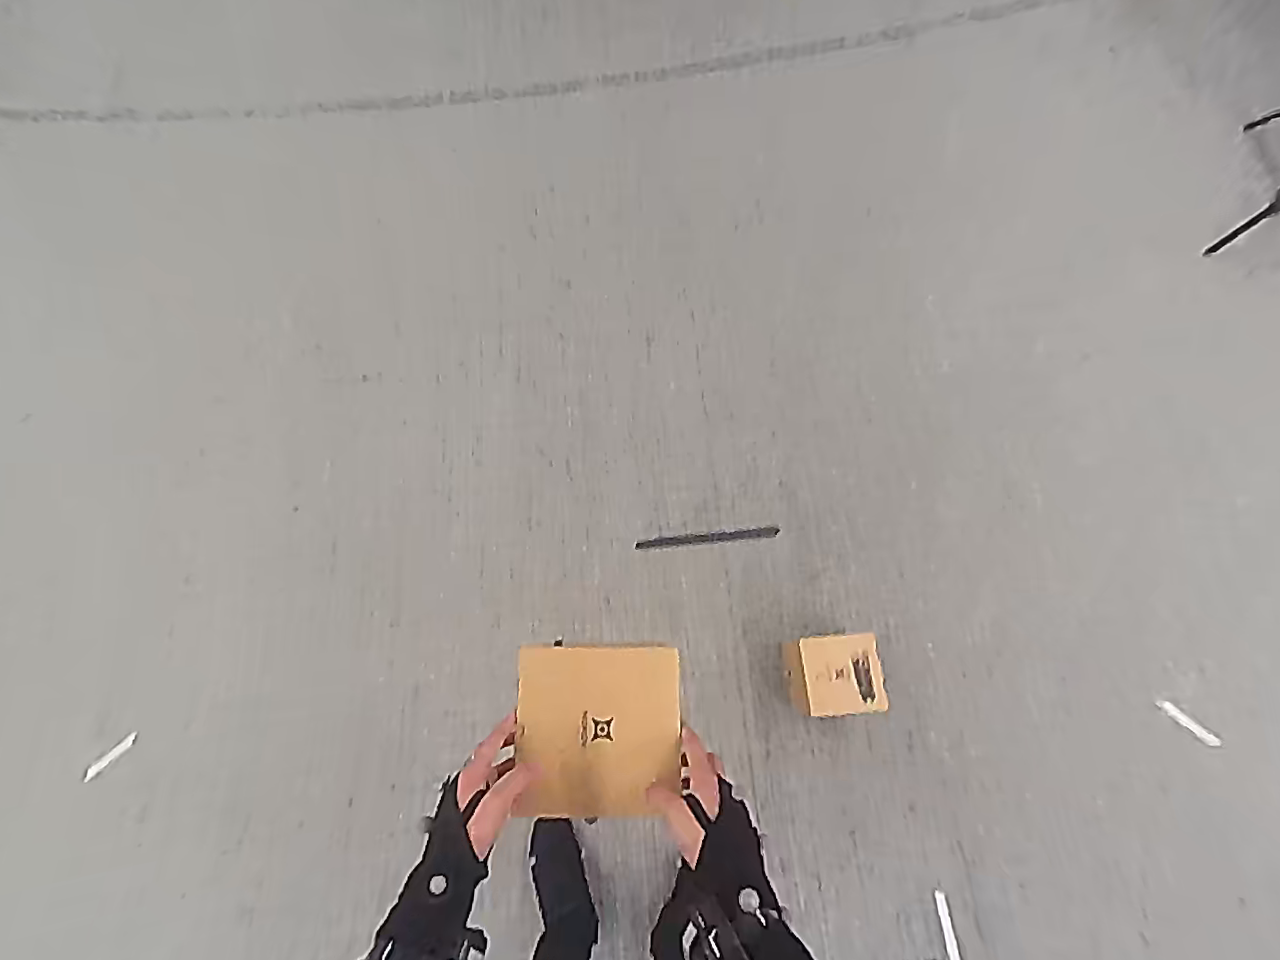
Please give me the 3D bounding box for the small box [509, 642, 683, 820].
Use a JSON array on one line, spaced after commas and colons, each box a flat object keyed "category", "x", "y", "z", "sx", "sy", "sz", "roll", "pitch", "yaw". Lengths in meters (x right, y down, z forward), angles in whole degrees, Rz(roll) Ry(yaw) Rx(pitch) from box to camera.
[{"category": "small box", "x": -0.045, "y": 0.281, "z": 0.638, "sx": 0.179, "sy": 0.176, "sz": 0.168, "roll": 0, "pitch": 75, "yaw": 0}]
